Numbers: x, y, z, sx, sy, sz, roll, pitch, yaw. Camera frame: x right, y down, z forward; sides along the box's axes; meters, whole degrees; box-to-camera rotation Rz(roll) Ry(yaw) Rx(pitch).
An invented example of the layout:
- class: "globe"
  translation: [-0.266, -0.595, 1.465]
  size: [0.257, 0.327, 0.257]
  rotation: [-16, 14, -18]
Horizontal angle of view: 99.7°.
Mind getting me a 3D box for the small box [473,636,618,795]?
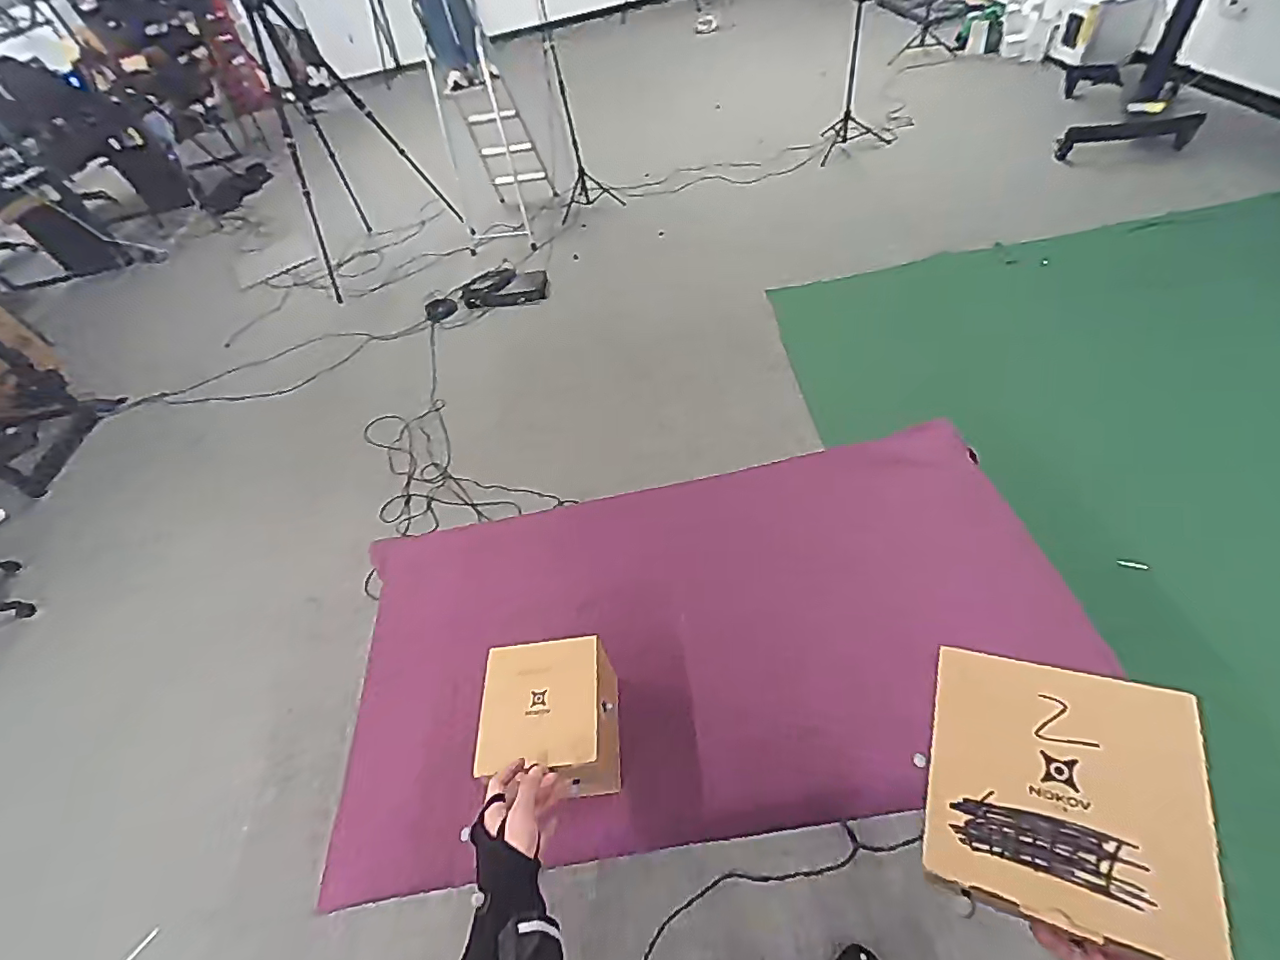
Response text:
- class: "small box"
  translation: [-0.128, 0.356, 0.805]
  size: [0.168, 0.176, 0.179]
  rotation: [-8, 48, 5]
